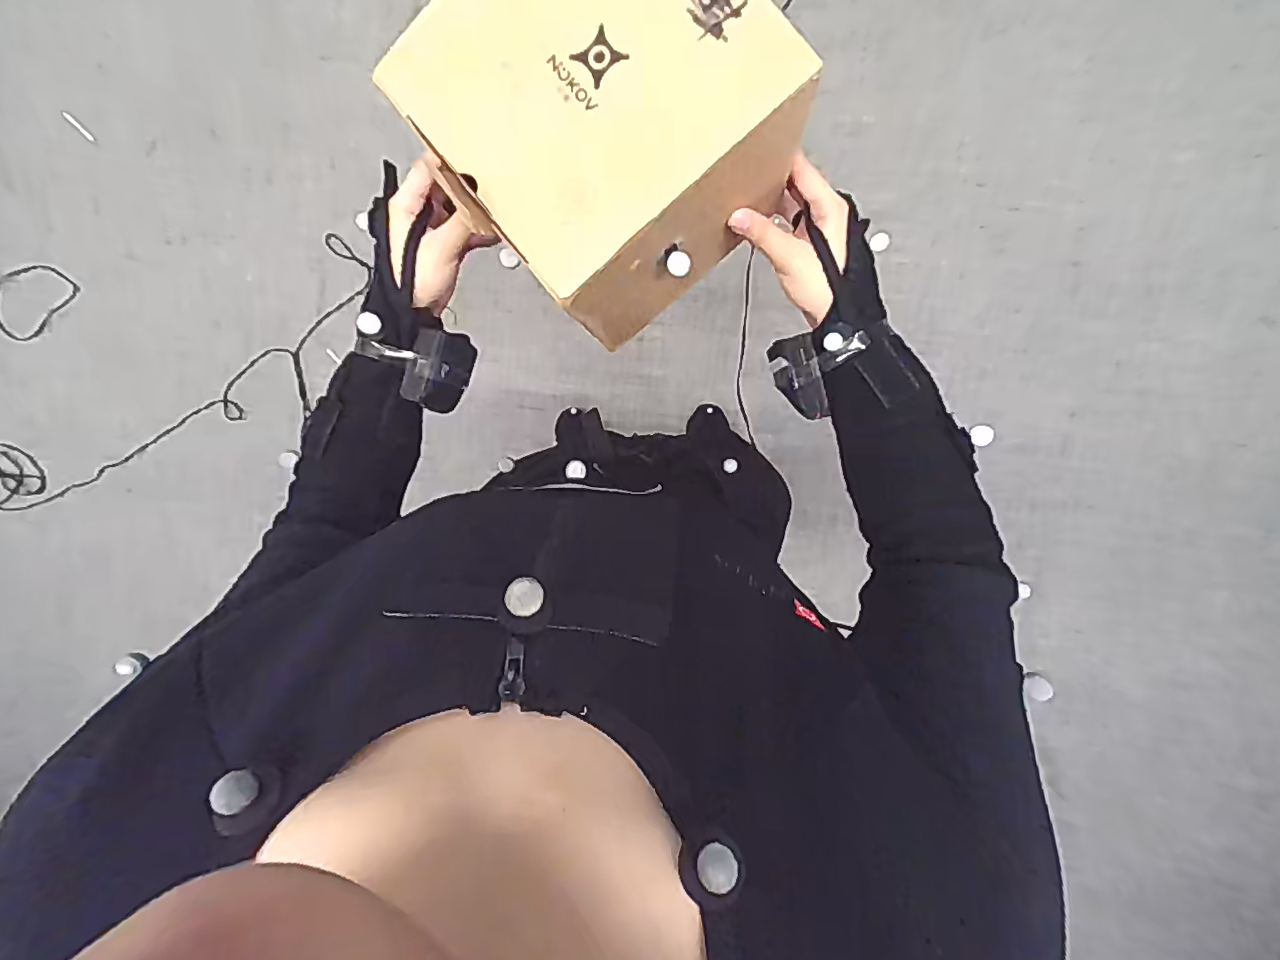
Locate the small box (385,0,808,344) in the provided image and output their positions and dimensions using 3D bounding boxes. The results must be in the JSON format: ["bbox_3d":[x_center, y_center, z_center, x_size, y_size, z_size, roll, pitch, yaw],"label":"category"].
[{"bbox_3d":[-0.017,-0.215,0.365,0.179,0.176,0.168,-40,89,9],"label":"small box"}]
